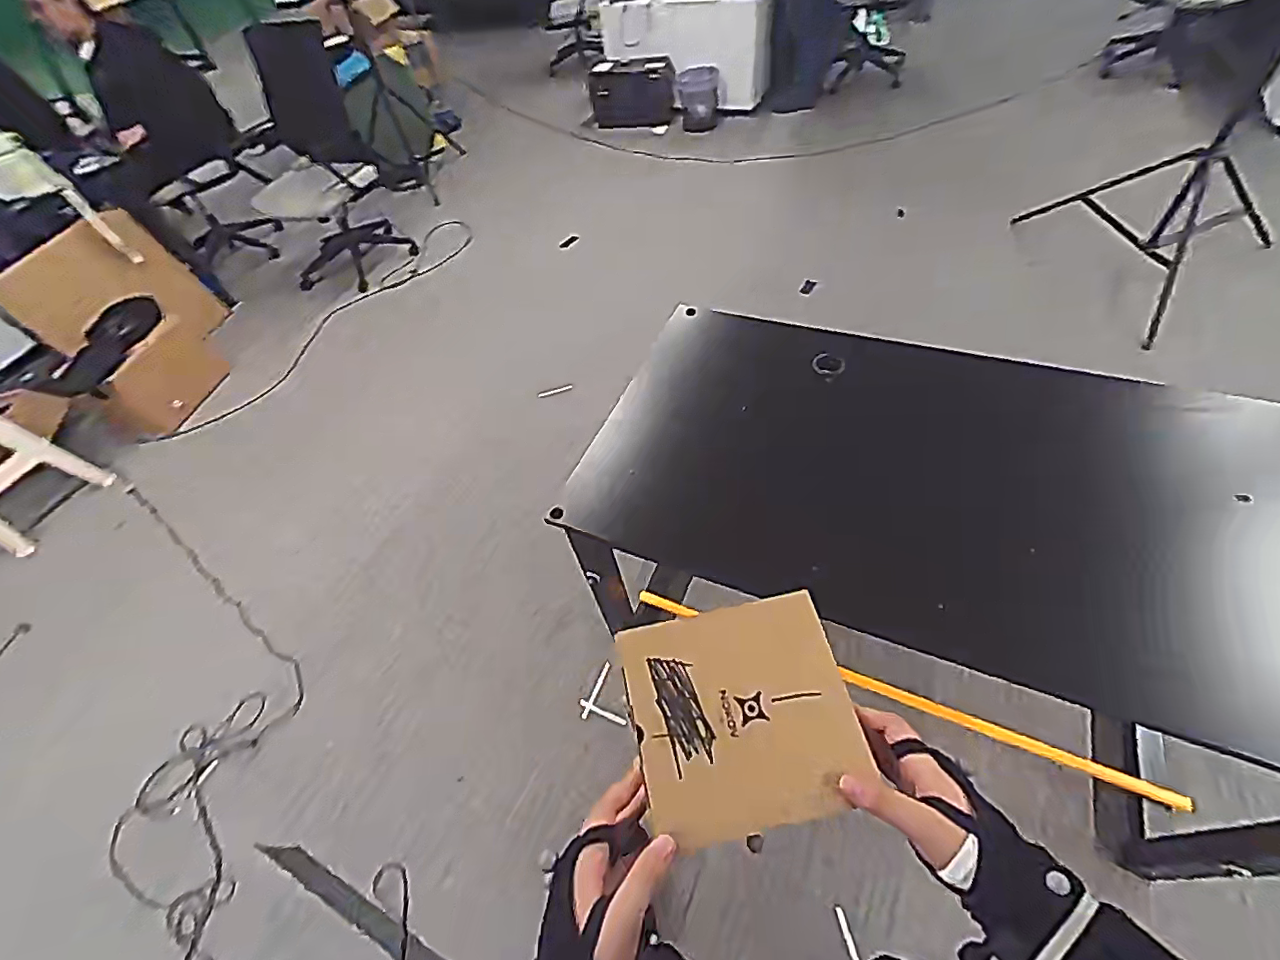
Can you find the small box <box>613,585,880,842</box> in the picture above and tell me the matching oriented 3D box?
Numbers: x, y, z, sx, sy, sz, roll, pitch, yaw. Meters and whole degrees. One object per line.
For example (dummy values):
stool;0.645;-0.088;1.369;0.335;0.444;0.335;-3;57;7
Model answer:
small box;0.081;0.216;0.495;0.179;0.176;0.168;-11;59;-3
